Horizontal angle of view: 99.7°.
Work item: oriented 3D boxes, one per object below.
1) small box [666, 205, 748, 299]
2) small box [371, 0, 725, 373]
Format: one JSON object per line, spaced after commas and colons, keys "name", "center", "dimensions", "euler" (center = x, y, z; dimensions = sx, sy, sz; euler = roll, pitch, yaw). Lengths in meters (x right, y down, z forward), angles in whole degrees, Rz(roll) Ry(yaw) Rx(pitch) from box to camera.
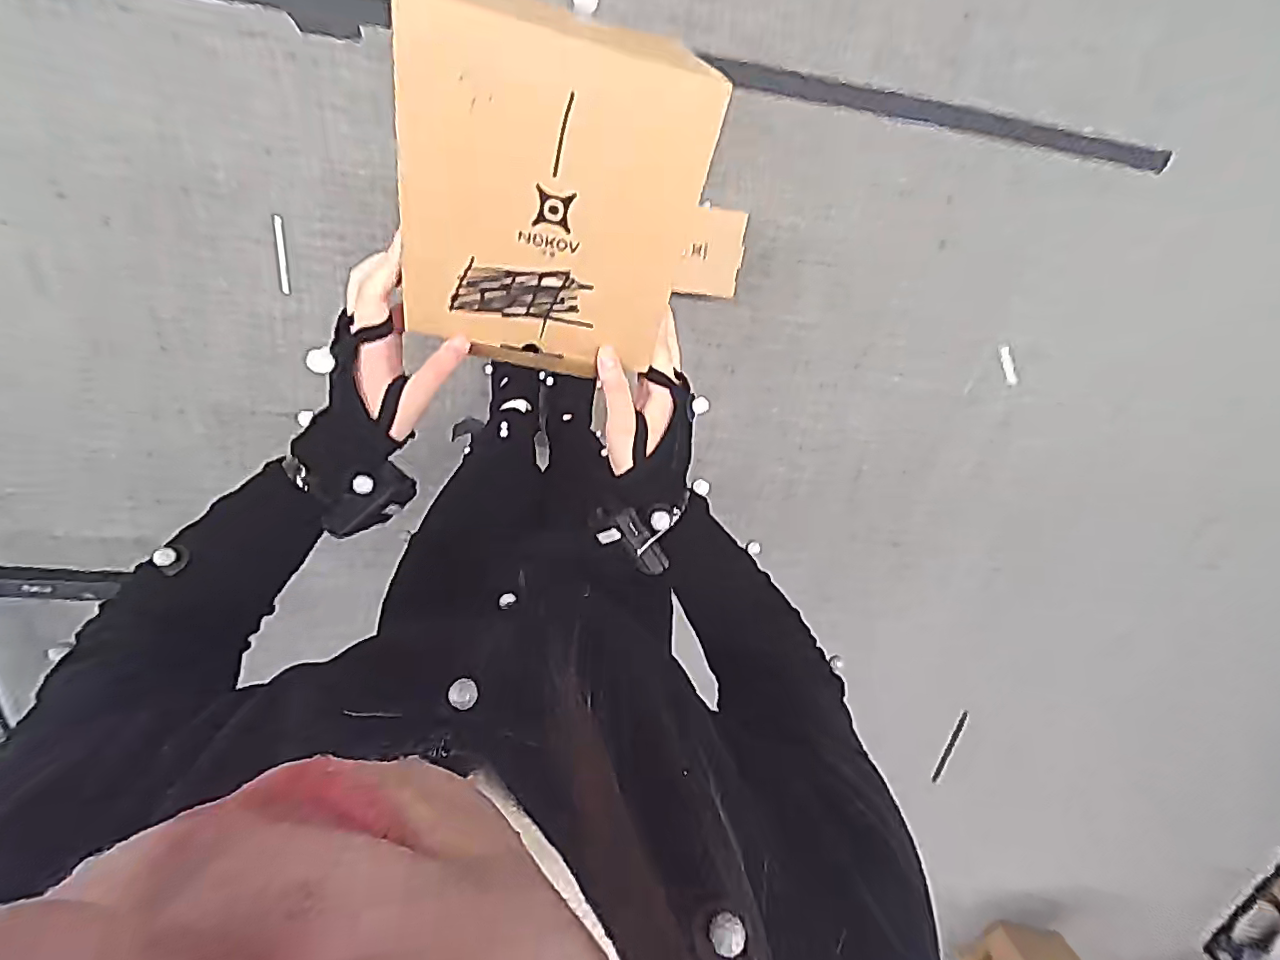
{"name": "small box", "center": [0.108, -0.497, 1.166], "dimensions": [0.179, 0.176, 0.168], "euler": [3, 114, -12]}
{"name": "small box", "center": [-0.063, -0.200, 0.357], "dimensions": [0.168, 0.176, 0.179], "euler": [6, 133, -14]}
